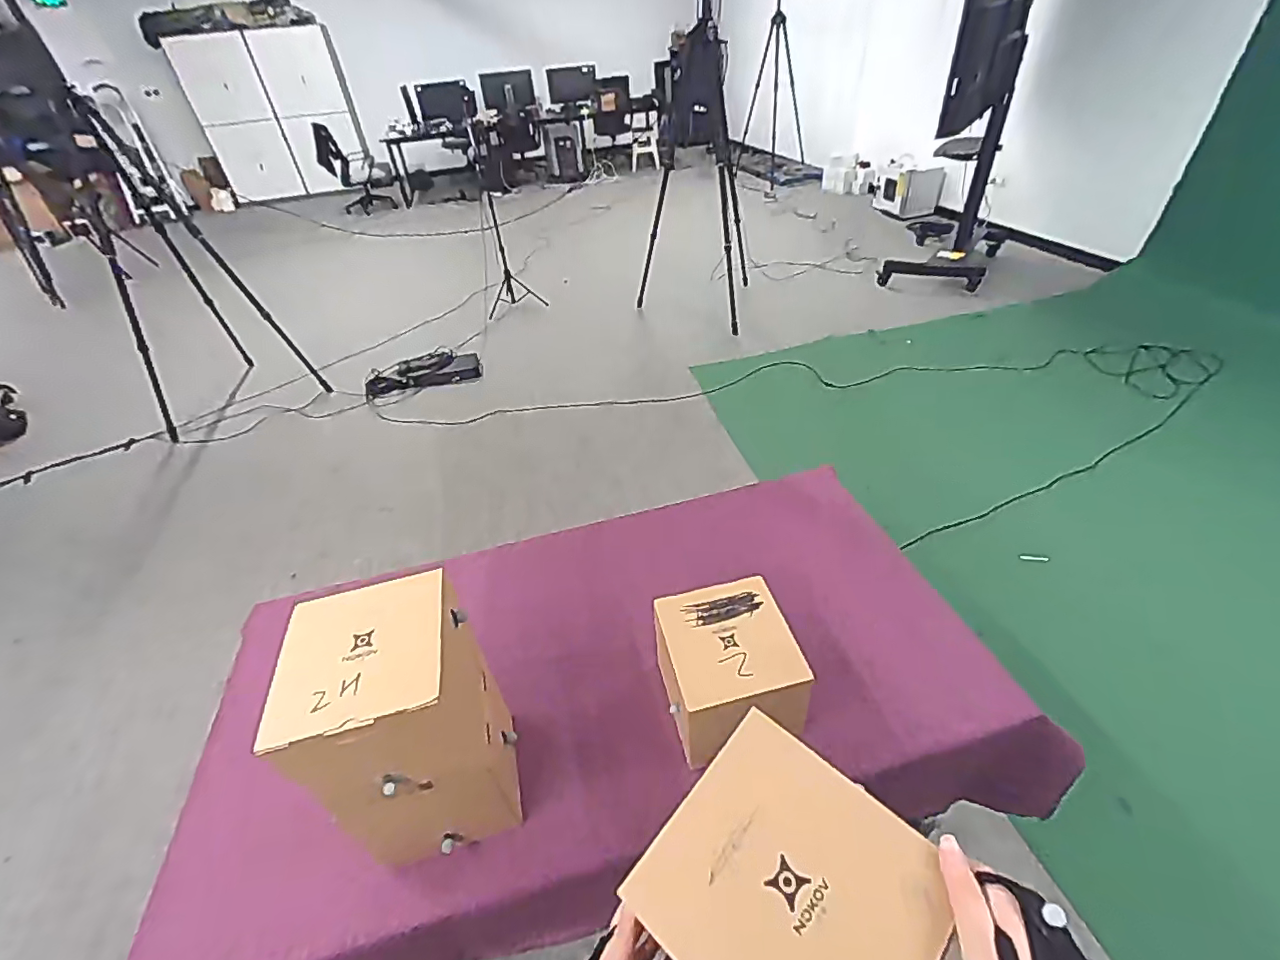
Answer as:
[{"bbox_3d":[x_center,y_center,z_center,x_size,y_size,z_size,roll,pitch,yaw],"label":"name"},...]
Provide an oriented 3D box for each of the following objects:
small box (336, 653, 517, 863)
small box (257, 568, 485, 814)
[{"bbox_3d":[-0.265,0.363,0.711,0.179,0.176,0.168,-13,40,-10],"label":"small box"},{"bbox_3d":[-0.279,0.233,0.608,0.168,0.176,0.179,-13,40,-8],"label":"small box"}]
